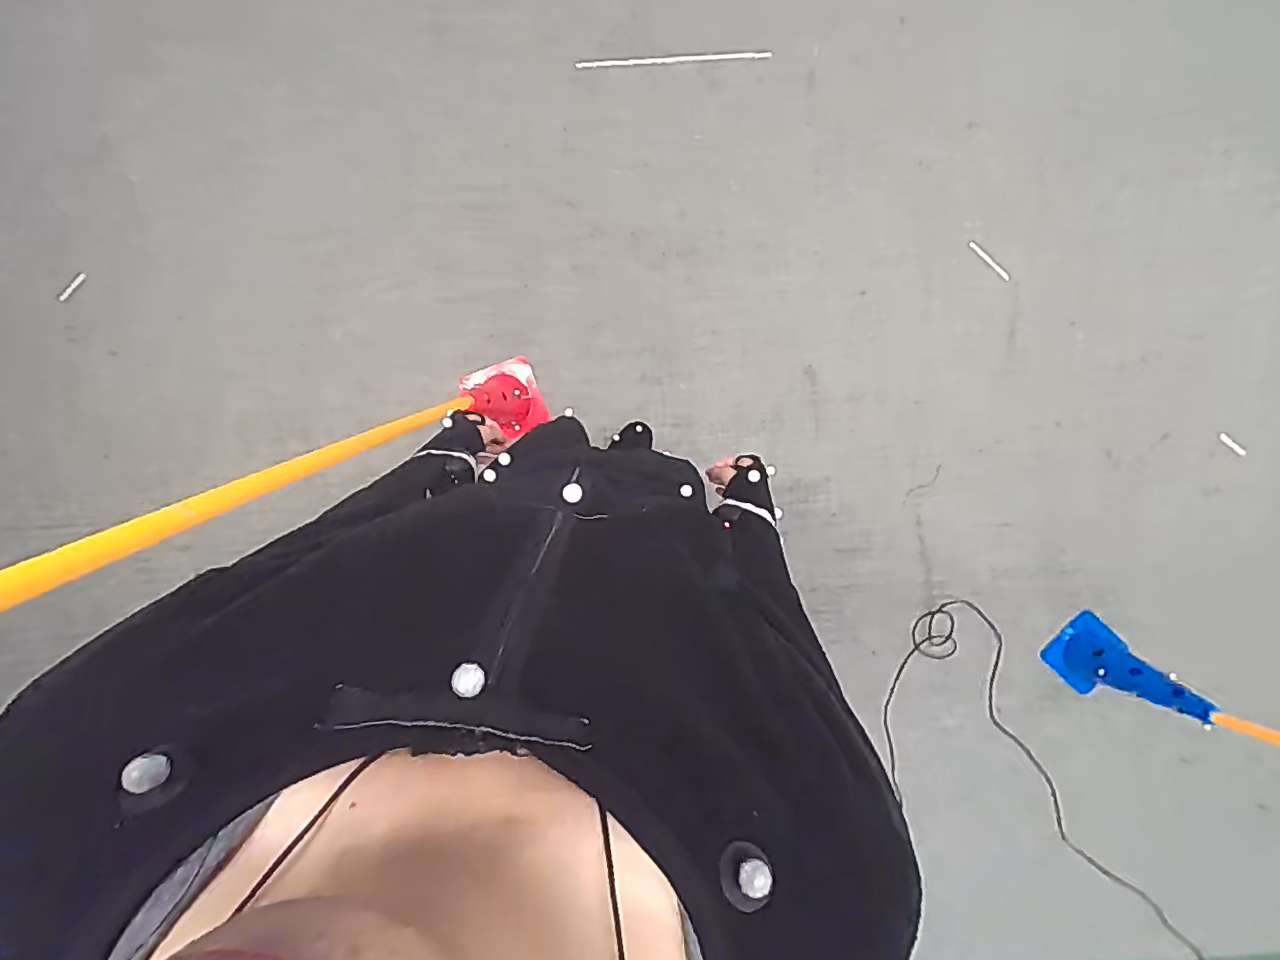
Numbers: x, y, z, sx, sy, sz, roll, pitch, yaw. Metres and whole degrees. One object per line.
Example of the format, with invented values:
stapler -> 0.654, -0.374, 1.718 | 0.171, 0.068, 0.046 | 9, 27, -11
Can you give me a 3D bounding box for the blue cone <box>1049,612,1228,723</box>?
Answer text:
blue cone -> 1.310, 0.514, 1.413 | 0.192, 0.380, 0.193 | 40, 93, -5
